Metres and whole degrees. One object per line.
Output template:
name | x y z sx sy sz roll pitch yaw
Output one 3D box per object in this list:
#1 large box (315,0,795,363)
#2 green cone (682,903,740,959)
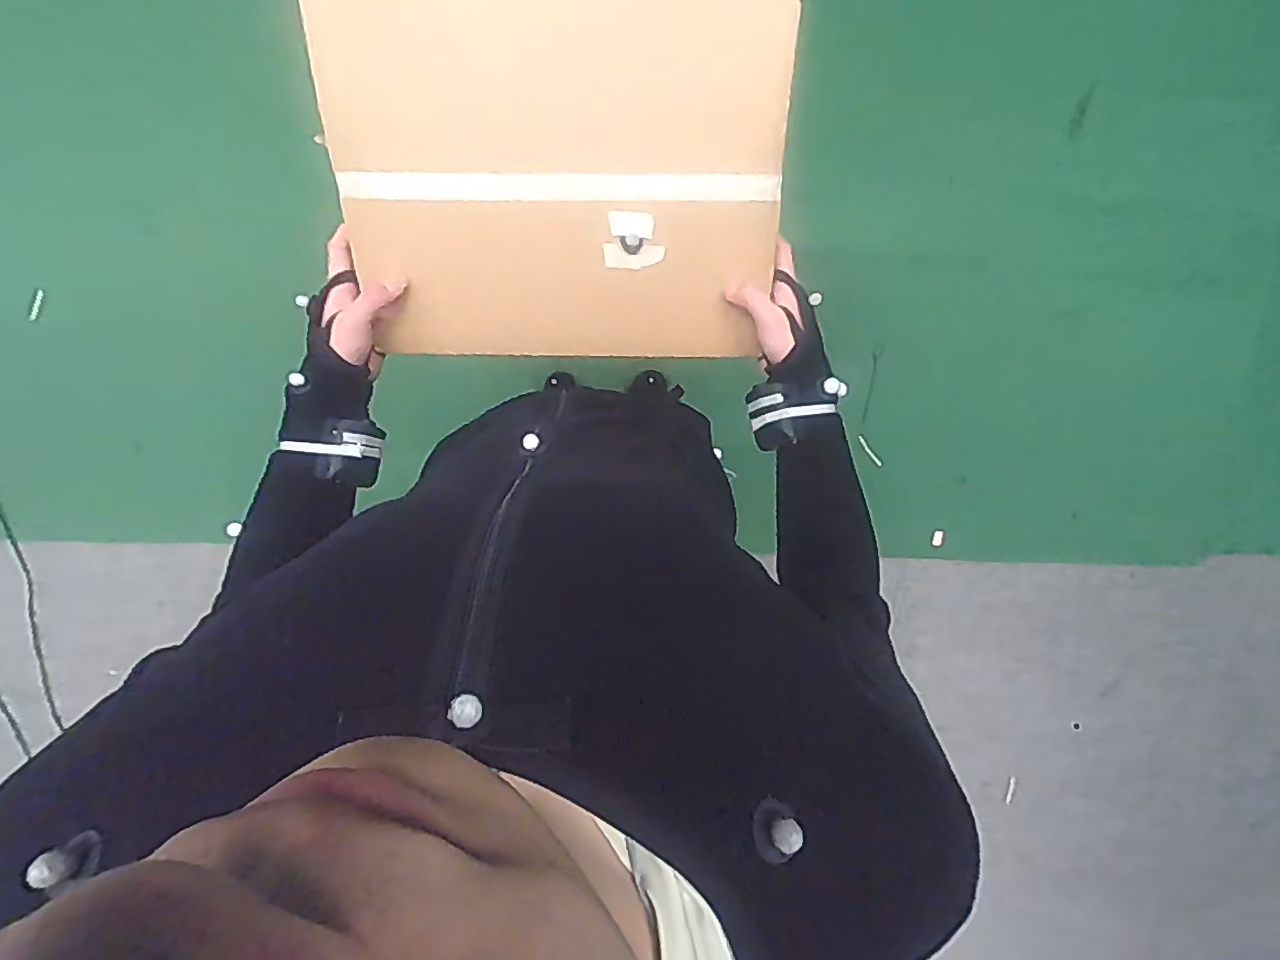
large box | -0.072 -0.331 0.640 0.408 0.320 0.320 -1 117 -1
green cone | 0.273 1.711 1.860 0.200 0.368 0.202 7 101 -4
